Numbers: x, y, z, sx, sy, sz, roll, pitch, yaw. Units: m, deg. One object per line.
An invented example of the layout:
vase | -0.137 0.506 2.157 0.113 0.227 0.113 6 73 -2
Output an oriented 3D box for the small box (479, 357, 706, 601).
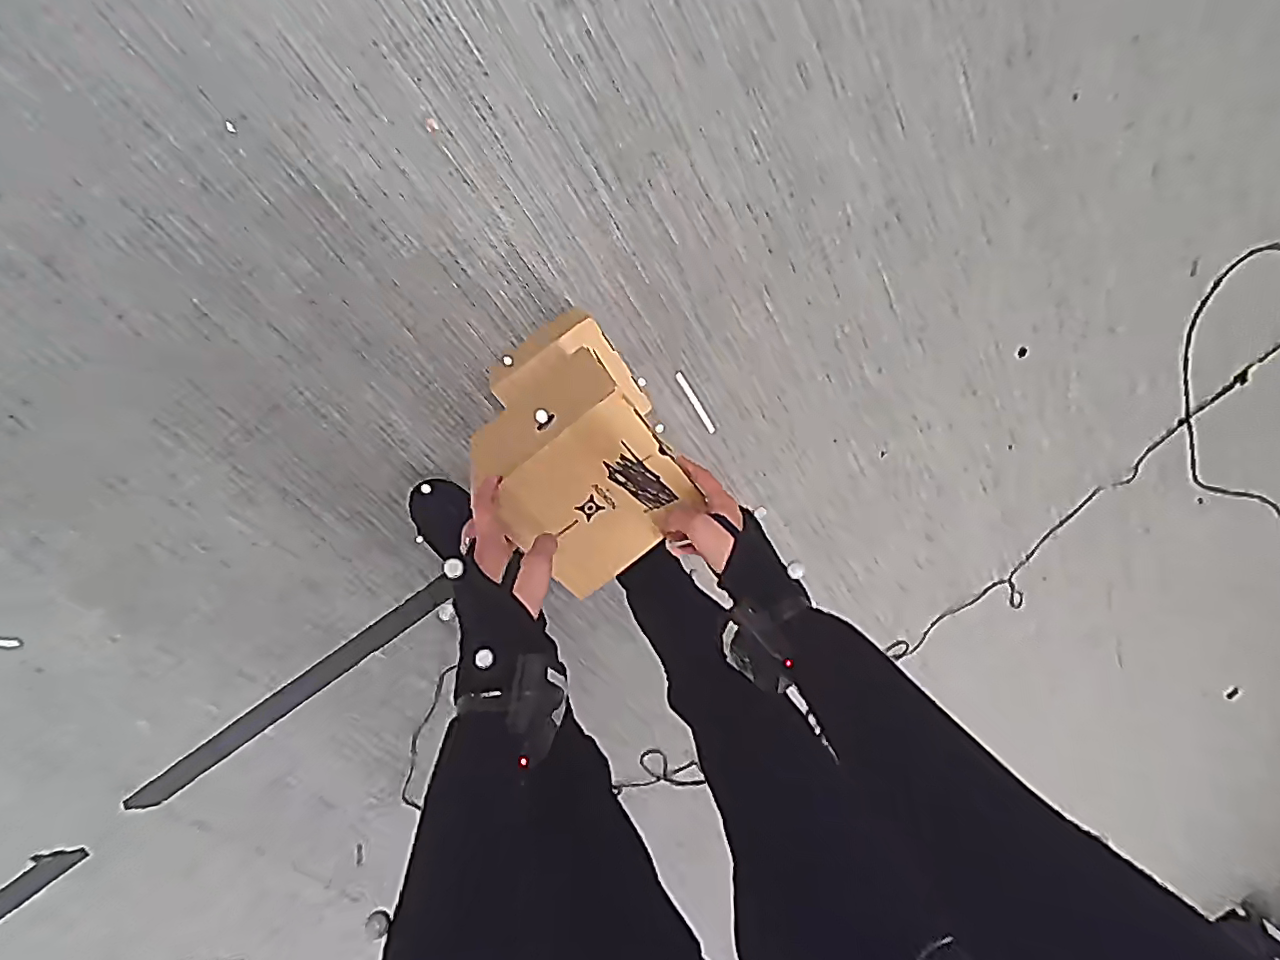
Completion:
small box | -0.062 -0.010 0.600 0.179 0.176 0.168 -39 120 5
